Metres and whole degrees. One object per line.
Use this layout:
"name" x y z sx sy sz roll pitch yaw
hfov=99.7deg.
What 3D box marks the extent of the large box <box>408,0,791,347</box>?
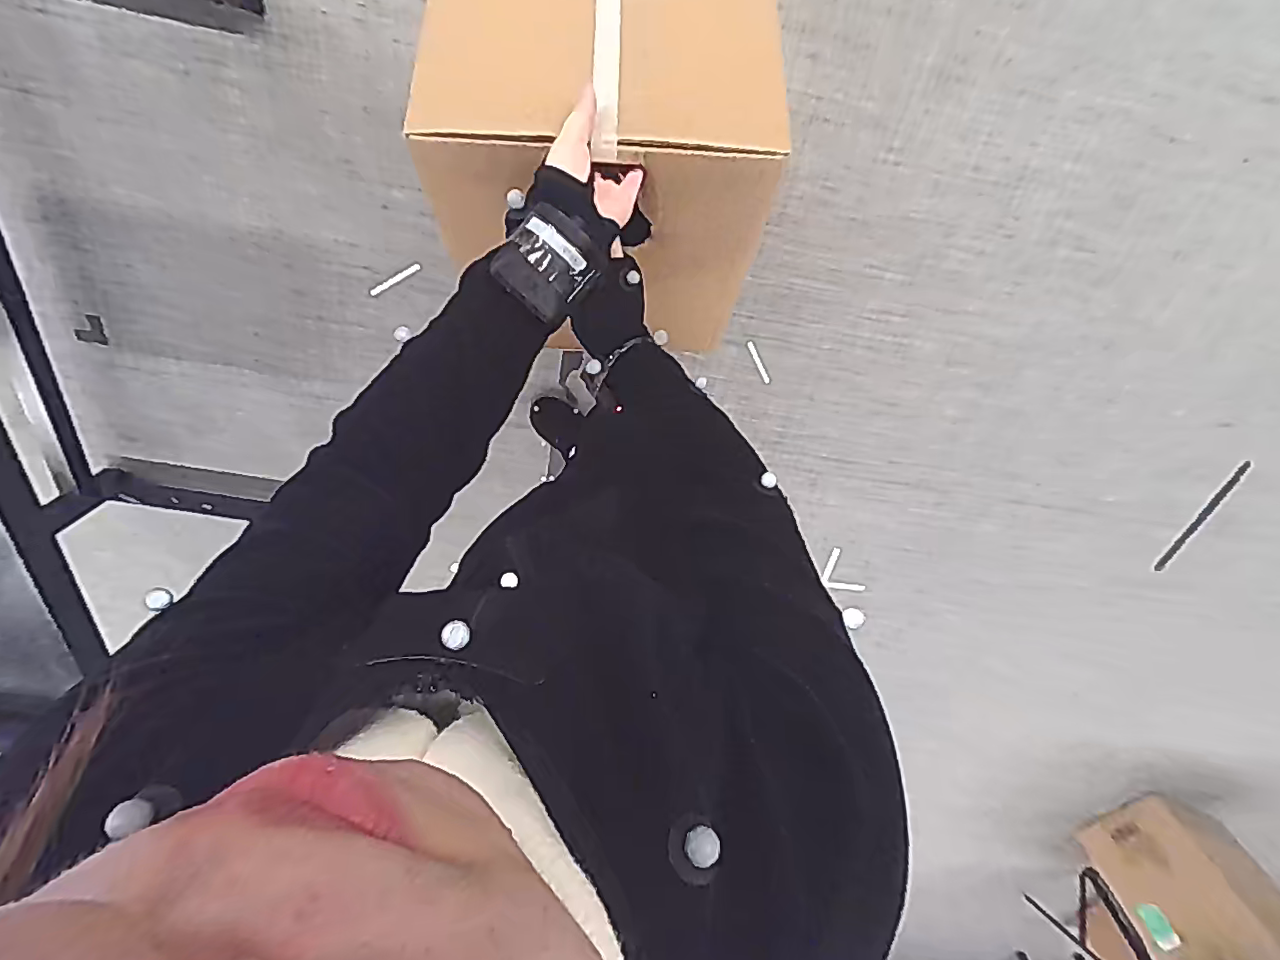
"large box" -0.039 -0.407 0.630 0.320 0.408 0.320 1 162 -4
